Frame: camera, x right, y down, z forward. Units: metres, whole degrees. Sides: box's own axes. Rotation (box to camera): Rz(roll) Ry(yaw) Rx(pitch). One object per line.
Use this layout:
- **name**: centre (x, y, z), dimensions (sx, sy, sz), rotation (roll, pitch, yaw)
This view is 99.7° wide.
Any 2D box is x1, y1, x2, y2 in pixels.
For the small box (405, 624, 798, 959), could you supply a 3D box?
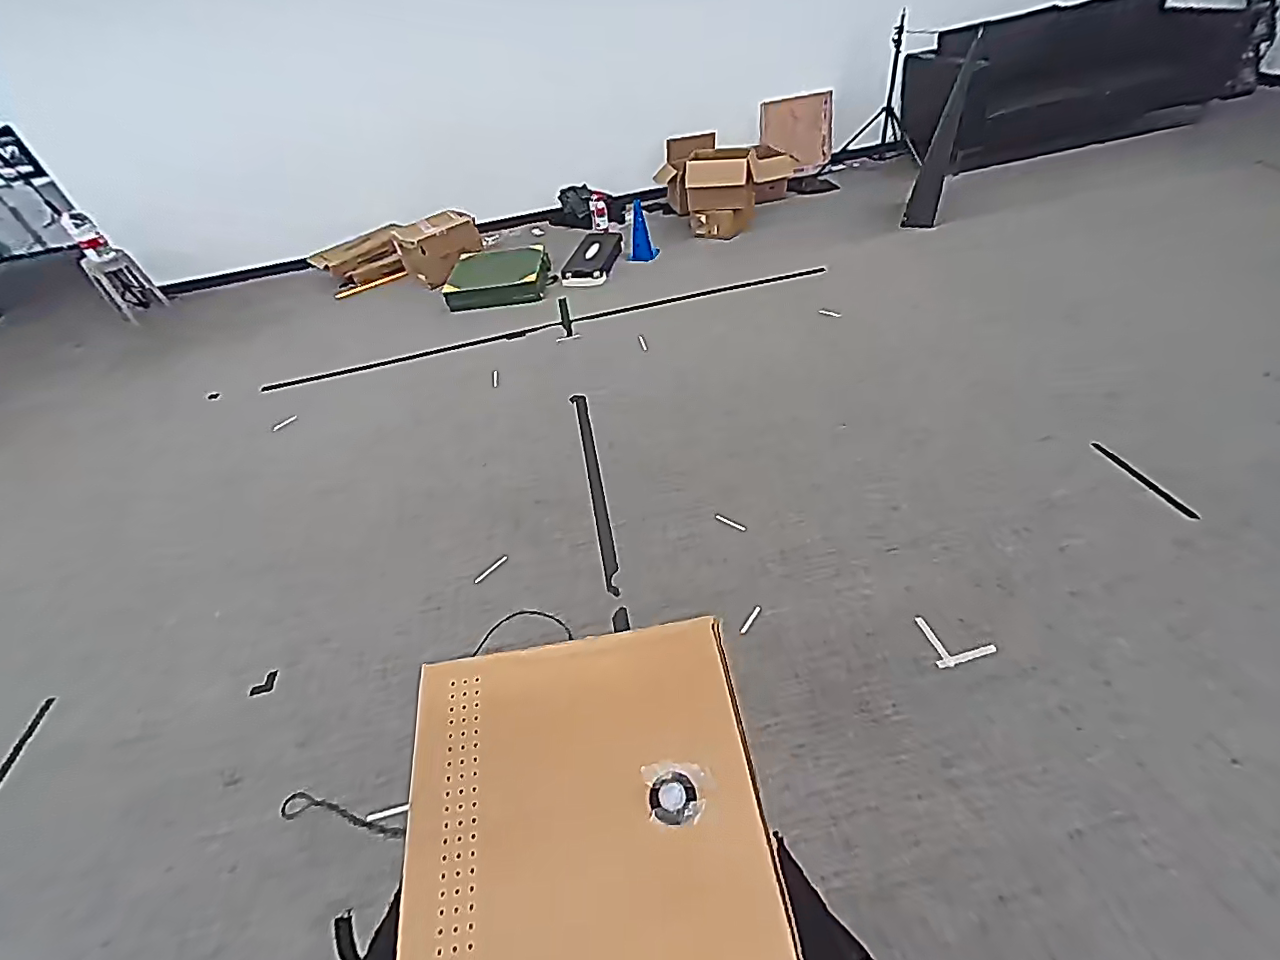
- **small box**: centre (-0.022, 0.210, 0.321), dimensions (0.176, 0.168, 0.179), rotation (-10, 54, -1)
